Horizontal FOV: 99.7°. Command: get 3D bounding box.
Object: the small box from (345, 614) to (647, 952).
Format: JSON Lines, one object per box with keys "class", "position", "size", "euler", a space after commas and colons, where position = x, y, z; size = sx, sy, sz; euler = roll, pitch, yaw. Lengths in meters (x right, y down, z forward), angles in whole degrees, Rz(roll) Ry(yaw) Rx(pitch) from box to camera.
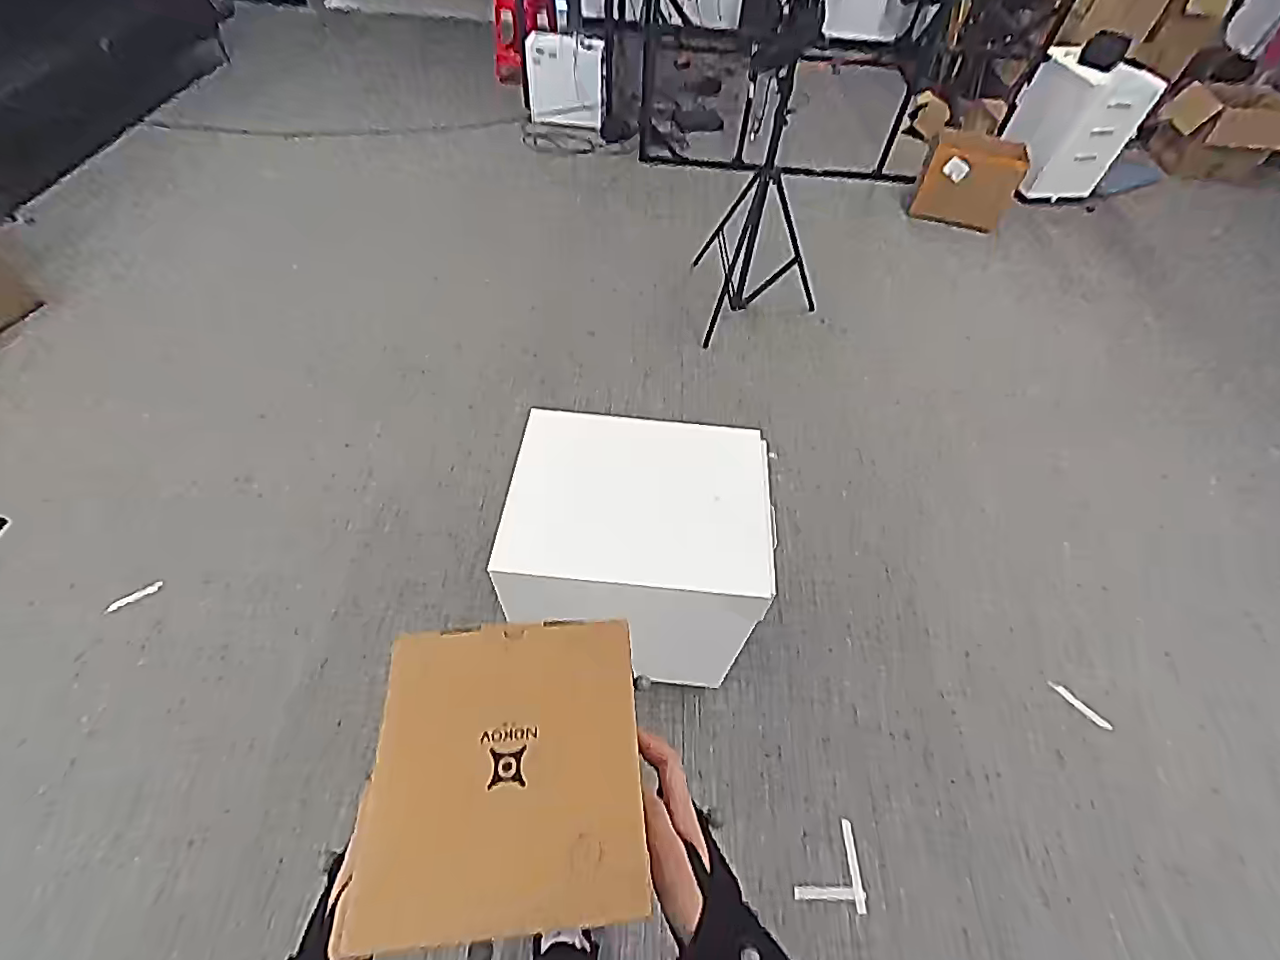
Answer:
{"class": "small box", "position": [-0.086, 0.219, 0.402], "size": [0.168, 0.176, 0.179], "euler": [-3, 53, -6]}
